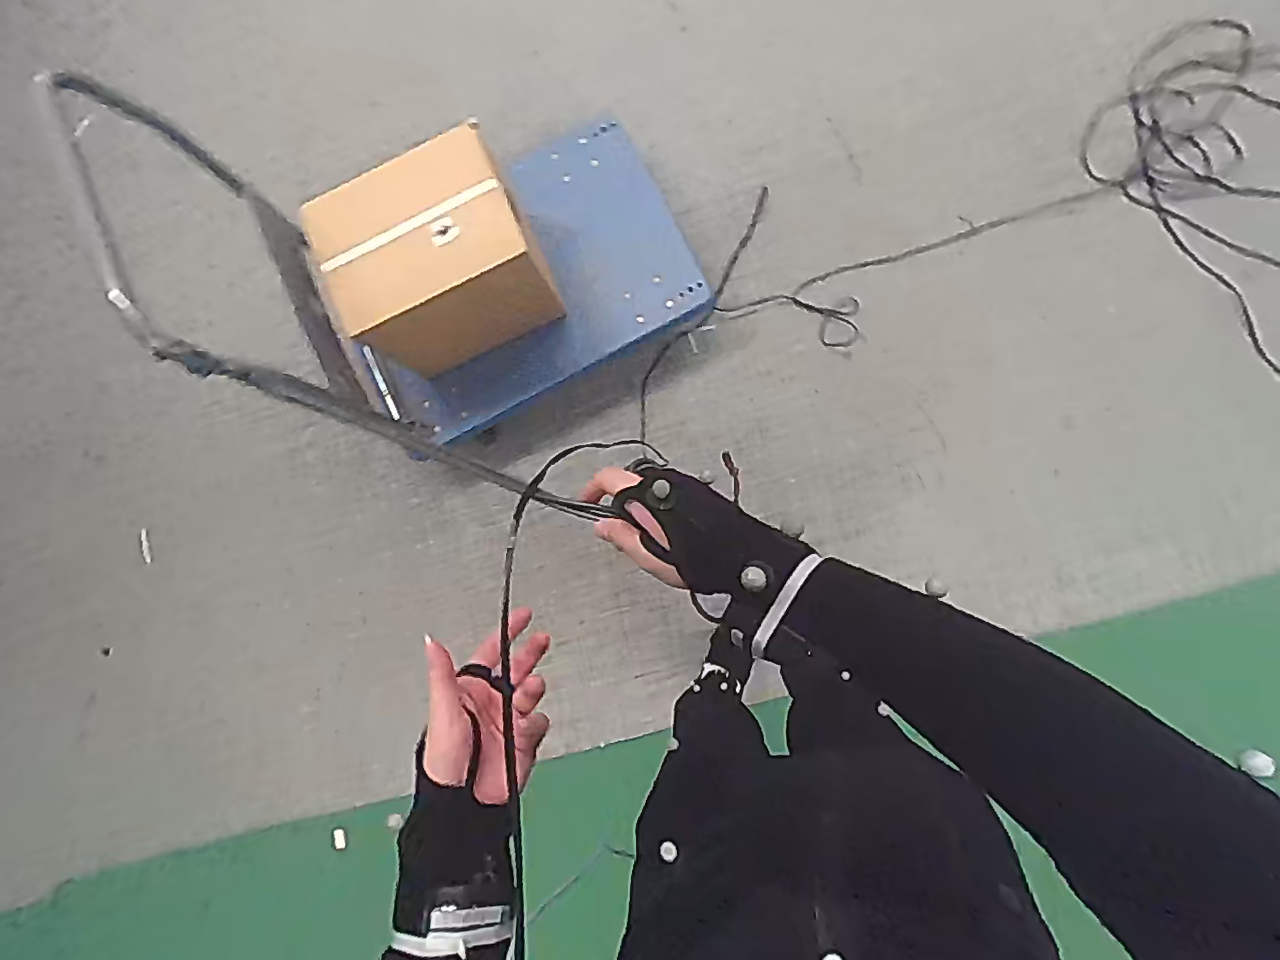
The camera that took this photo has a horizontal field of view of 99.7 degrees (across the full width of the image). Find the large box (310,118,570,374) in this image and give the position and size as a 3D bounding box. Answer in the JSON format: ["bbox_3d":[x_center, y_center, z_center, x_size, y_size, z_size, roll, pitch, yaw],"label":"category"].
[{"bbox_3d":[-0.422,-0.492,1.217,0.408,0.320,0.320,-23,83,3],"label":"large box"}]
